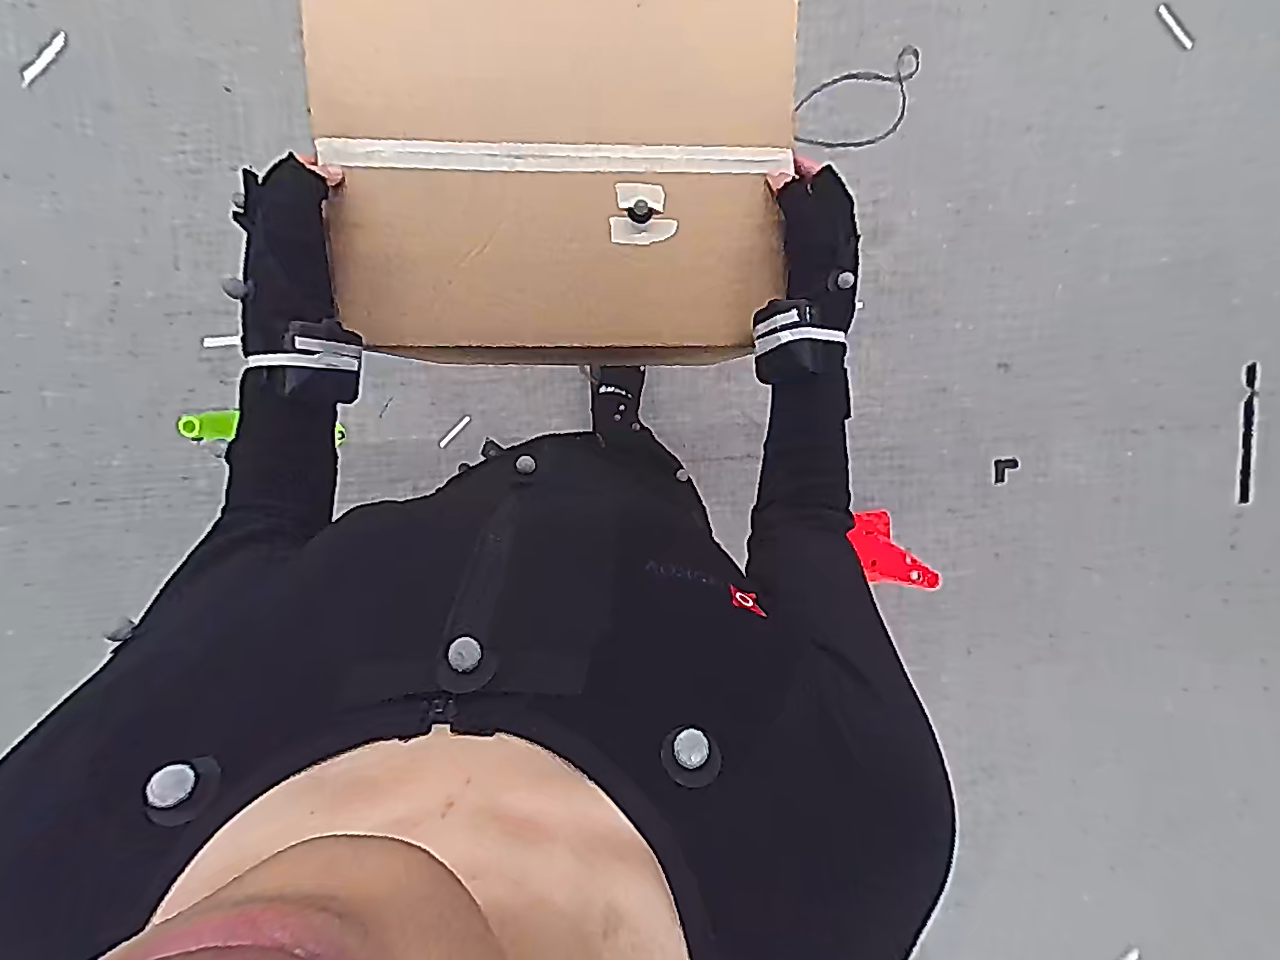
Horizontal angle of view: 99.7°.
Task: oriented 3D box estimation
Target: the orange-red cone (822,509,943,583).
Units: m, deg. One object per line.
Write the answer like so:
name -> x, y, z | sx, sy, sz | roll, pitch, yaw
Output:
orange-red cone -> 0.617, 0.193, 1.330 | 0.198, 0.360, 0.199 | -6, 93, -4

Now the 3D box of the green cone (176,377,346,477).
green cone -> -0.884, -0.122, 1.225 | 0.202, 0.368, 0.200 | -41, 94, 2

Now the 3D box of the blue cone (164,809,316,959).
blue cone -> -0.978, 1.002, 1.315 | 0.192, 0.380, 0.193 | 0, 94, -2

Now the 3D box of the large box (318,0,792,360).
large box -> -0.077, -0.309, 0.618 | 0.408, 0.320, 0.320 | -1, 100, -5
